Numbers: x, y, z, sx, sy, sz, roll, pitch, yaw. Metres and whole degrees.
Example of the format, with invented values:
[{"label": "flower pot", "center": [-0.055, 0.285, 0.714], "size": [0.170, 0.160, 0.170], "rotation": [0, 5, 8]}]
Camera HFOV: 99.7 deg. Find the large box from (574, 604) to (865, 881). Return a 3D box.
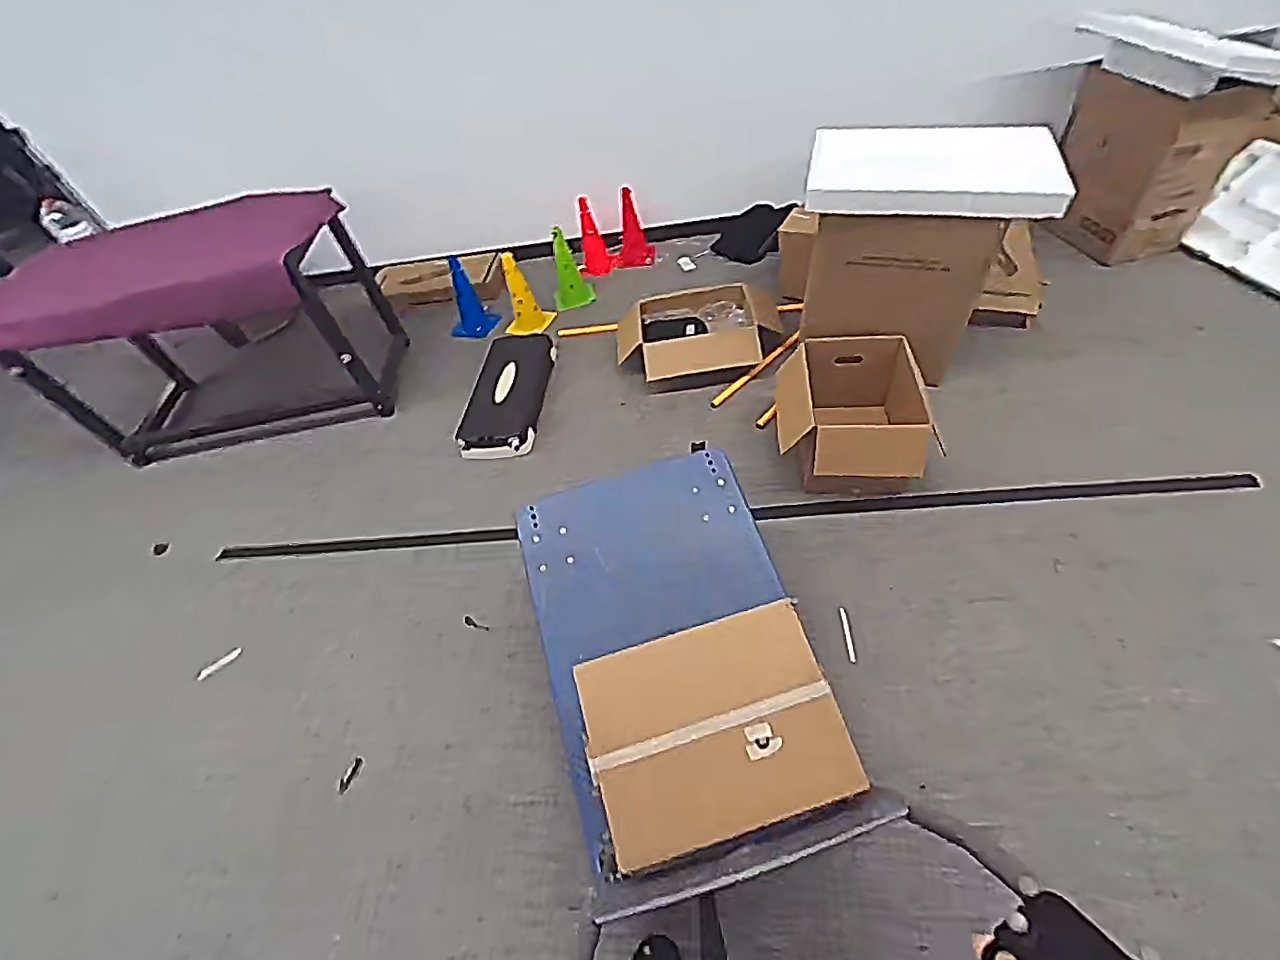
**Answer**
[{"label": "large box", "center": [0.124, 0.471, 1.013], "size": [0.408, 0.320, 0.320], "rotation": [-17, 66, -5]}]
